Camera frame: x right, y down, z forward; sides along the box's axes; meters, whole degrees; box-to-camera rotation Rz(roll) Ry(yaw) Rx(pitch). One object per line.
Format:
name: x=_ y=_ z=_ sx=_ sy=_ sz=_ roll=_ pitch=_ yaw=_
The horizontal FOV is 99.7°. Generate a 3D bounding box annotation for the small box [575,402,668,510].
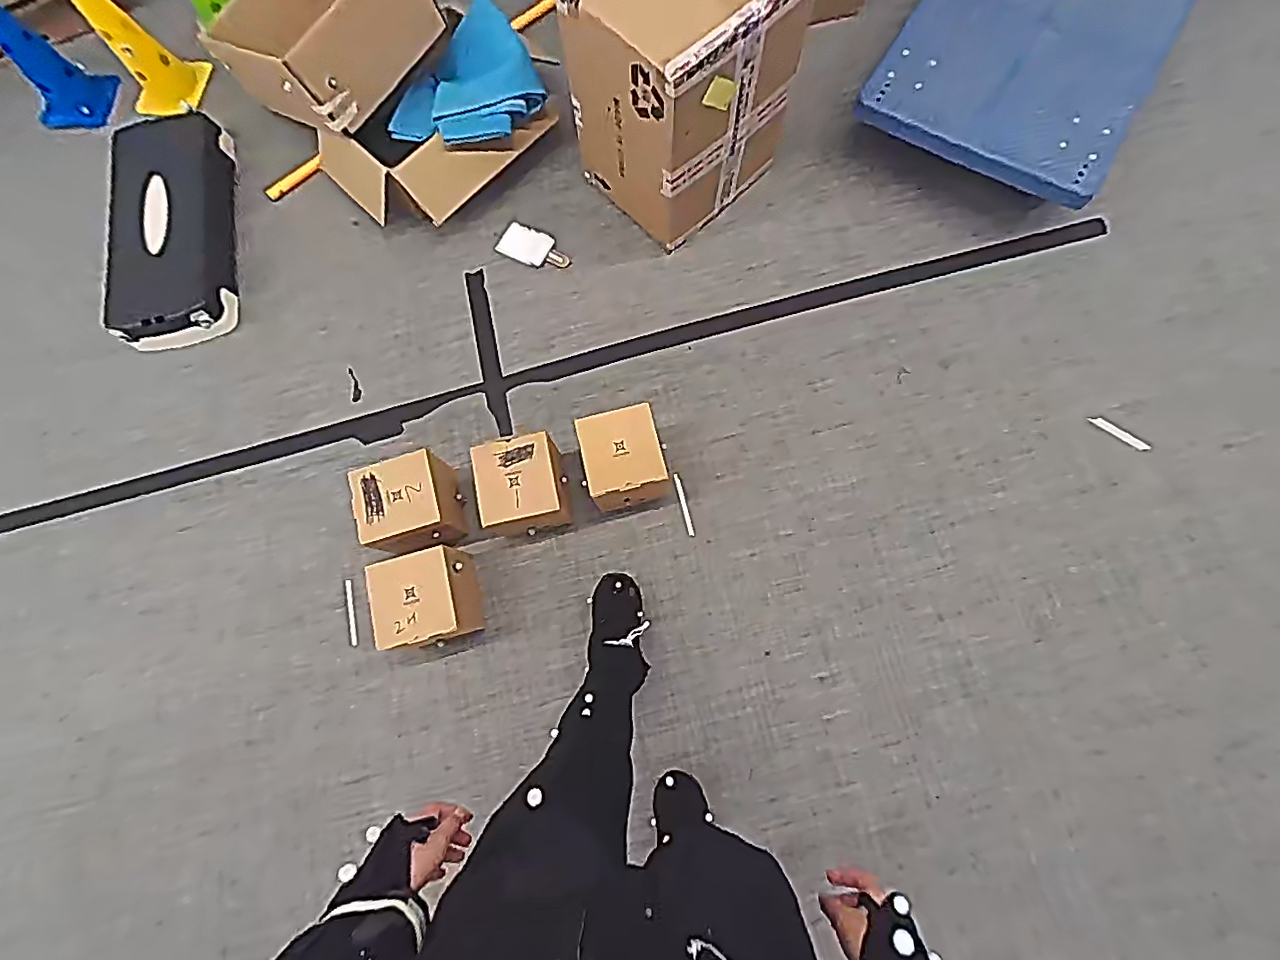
small box: x=-0.038 y=-0.048 z=1.201 sx=0.168 sy=0.176 sz=0.179 roll=-14 pitch=76 yaw=-1

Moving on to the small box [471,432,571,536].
small box: x=-0.257 y=0.014 z=1.193 sx=0.168 sy=0.176 sz=0.179 roll=-12 pitch=77 yaw=0

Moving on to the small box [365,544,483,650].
small box: x=-0.450 y=0.250 z=1.143 sx=0.168 sy=0.176 sz=0.179 roll=-16 pitch=76 yaw=0
